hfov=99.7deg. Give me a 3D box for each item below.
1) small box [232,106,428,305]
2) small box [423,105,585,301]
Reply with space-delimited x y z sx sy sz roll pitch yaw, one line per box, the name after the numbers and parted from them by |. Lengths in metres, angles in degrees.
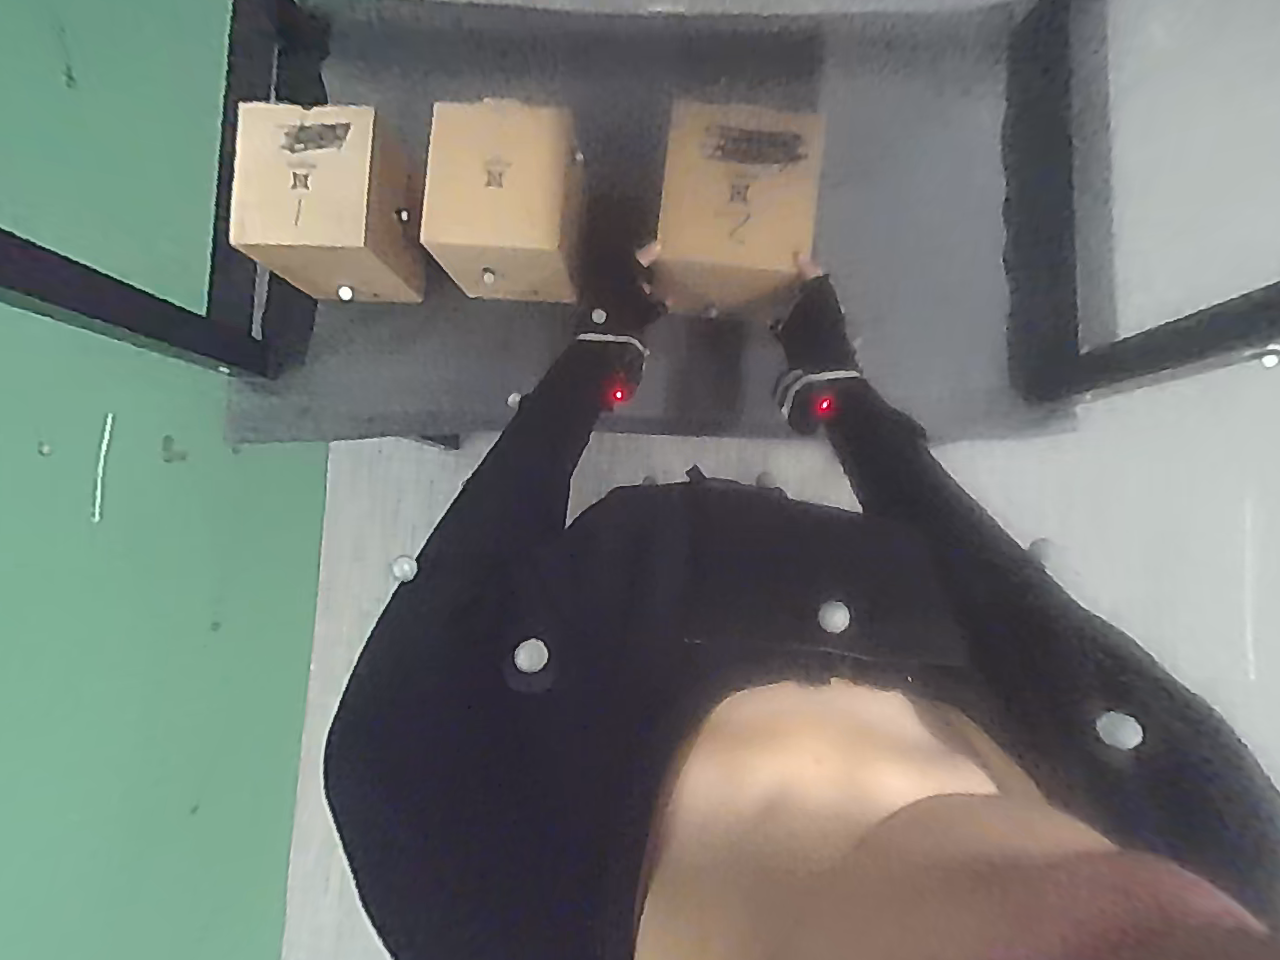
-0.396 -0.356 0.725 0.168 0.176 0.179 2 86 2 | small box
-0.168 -0.354 0.721 0.168 0.176 0.179 3 85 2 | small box
